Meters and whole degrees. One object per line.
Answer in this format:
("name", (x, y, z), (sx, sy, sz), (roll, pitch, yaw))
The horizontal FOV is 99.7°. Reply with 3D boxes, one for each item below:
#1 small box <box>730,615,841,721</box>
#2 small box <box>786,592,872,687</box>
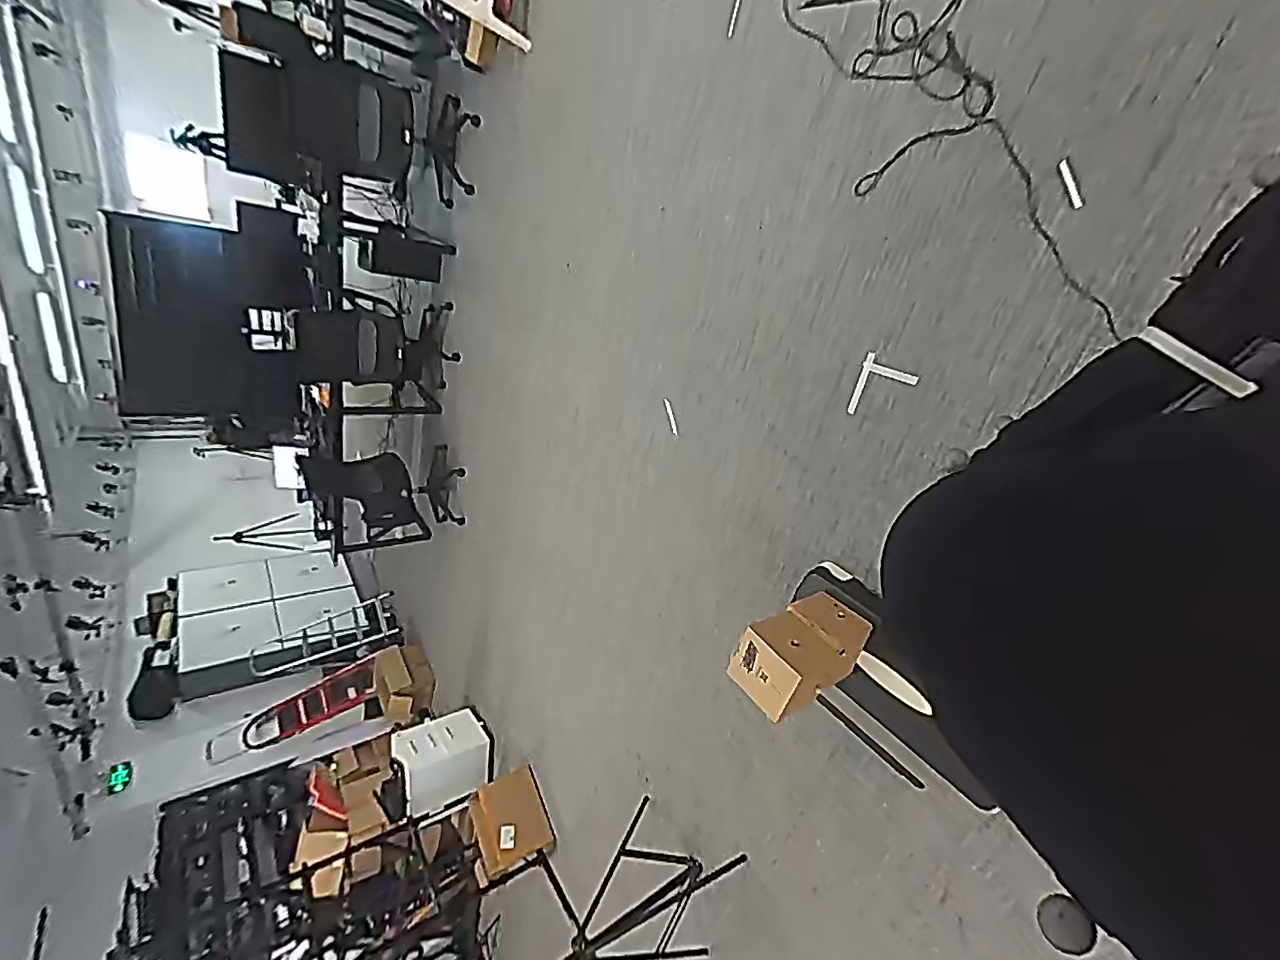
("small box", (0.365, 0.461, 1.363), (0.179, 0.176, 0.168), (41, 125, 39))
("small box", (0.494, 0.431, 1.462), (0.168, 0.176, 0.179), (36, 121, 43))
